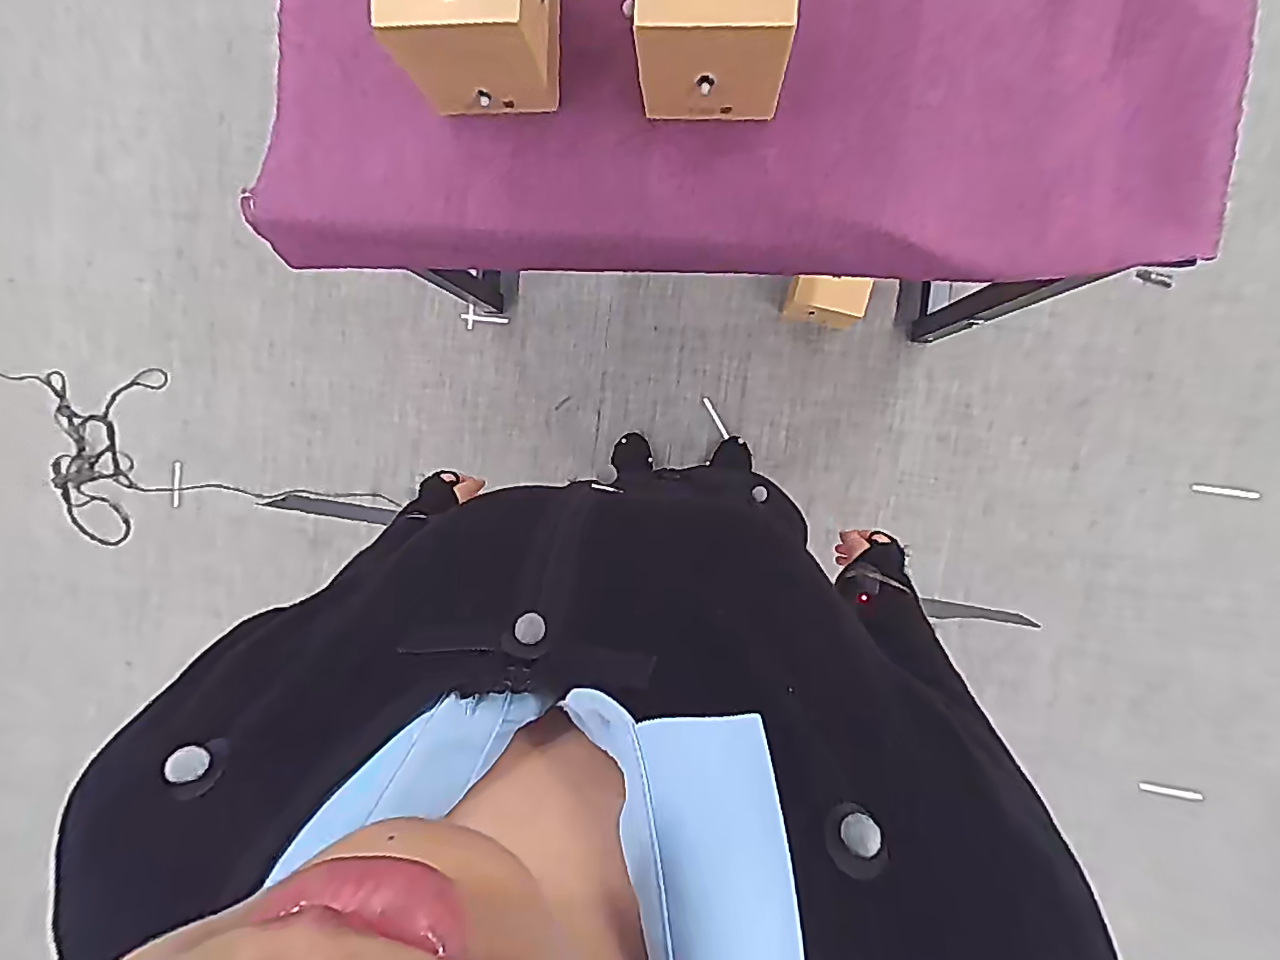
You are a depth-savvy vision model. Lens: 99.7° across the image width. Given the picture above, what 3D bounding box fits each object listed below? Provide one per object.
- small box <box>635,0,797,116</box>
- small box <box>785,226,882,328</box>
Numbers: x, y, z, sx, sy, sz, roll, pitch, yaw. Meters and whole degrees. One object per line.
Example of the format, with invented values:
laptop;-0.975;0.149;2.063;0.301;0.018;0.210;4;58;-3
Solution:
small box;0.090;-0.551;0.618;0.168;0.176;0.179;5;95;4
small box;0.463;-0.487;1.325;0.168;0.176;0.179;15;96;4
